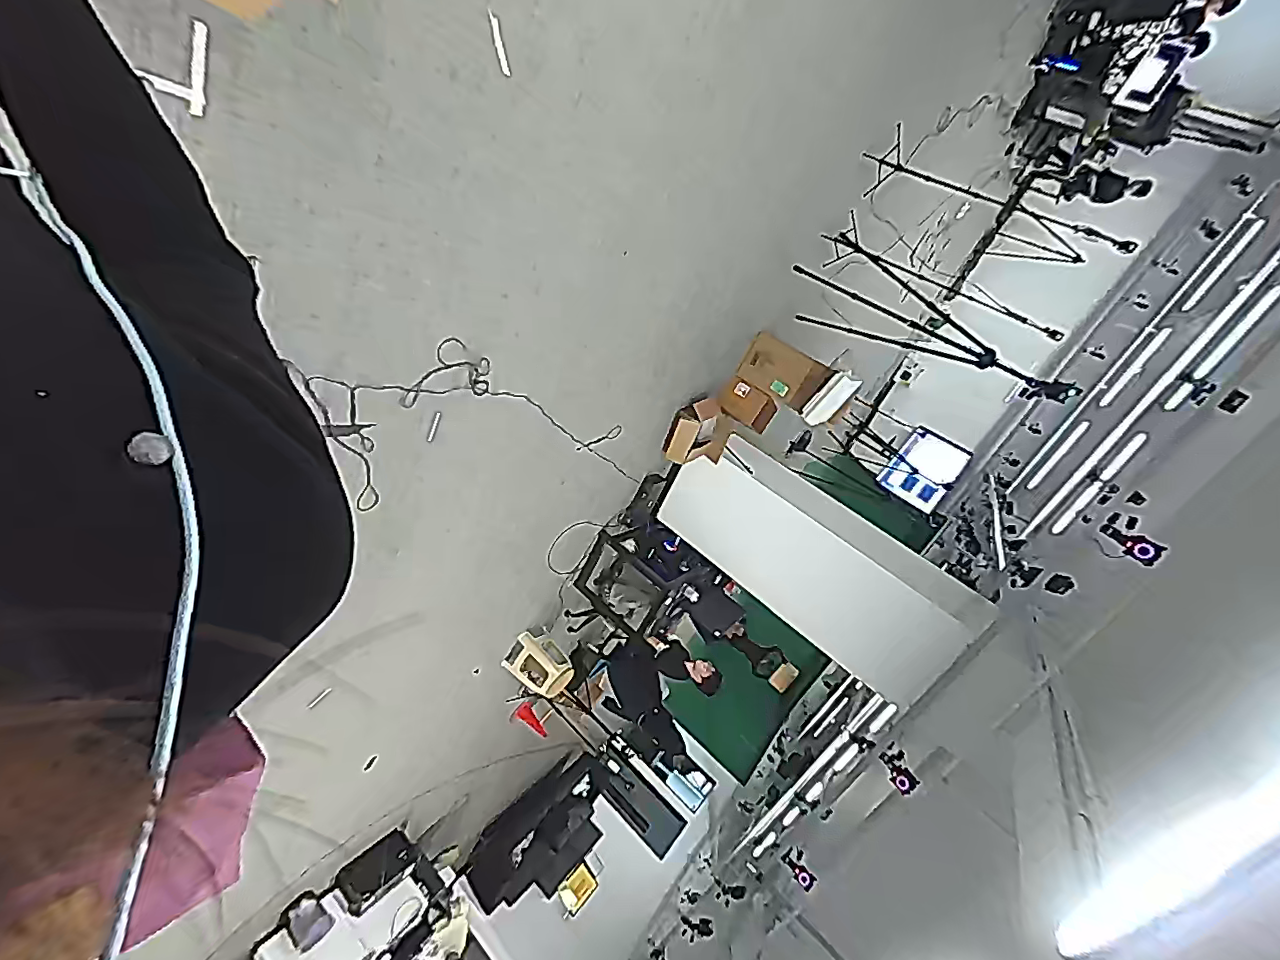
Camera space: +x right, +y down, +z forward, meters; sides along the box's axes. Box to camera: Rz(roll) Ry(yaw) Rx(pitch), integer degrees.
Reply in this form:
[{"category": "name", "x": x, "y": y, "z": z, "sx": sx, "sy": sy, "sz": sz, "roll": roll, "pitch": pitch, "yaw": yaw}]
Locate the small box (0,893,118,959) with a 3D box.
[{"category": "small box", "x": -1.285, "y": 1.063, "z": 1.184, "sx": 0.168, "sy": 0.176, "sz": 0.179, "roll": -14, "pitch": 137, "yaw": -56}]
